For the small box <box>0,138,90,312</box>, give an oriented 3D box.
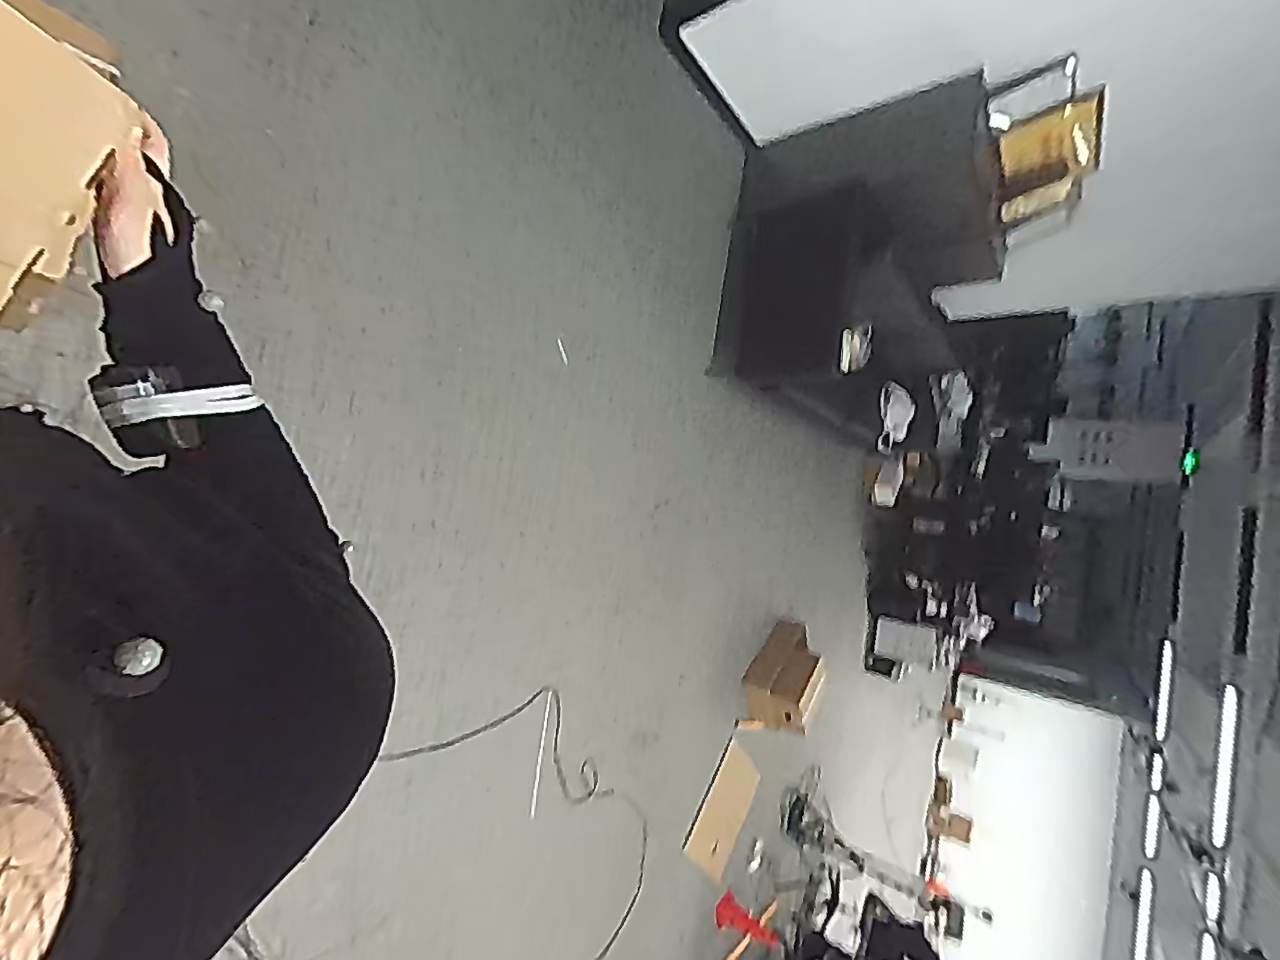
[{"bbox_3d":[-0.875,-0.346,0.710,0.168,0.176,0.179,21,76,-50],"label":"small box"}]
